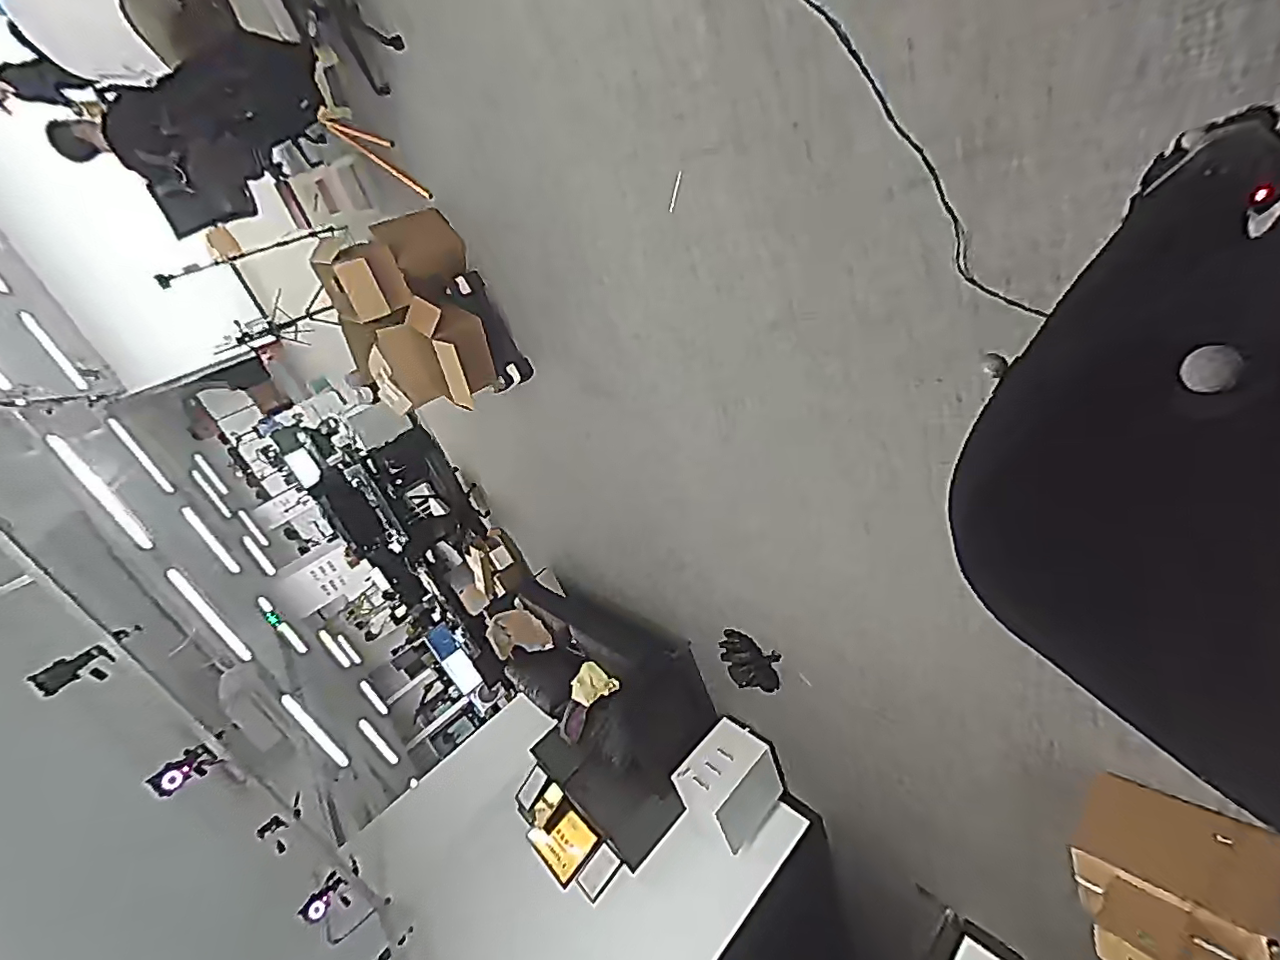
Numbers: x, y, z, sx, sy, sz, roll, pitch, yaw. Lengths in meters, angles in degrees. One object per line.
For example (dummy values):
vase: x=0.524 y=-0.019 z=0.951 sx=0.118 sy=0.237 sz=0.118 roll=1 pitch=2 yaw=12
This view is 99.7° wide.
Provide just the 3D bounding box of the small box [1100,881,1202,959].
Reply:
small box: x=1.404 y=1.266 z=1.483 sx=0.179 sy=0.176 sz=0.168 roll=9 pitch=126 yaw=54
